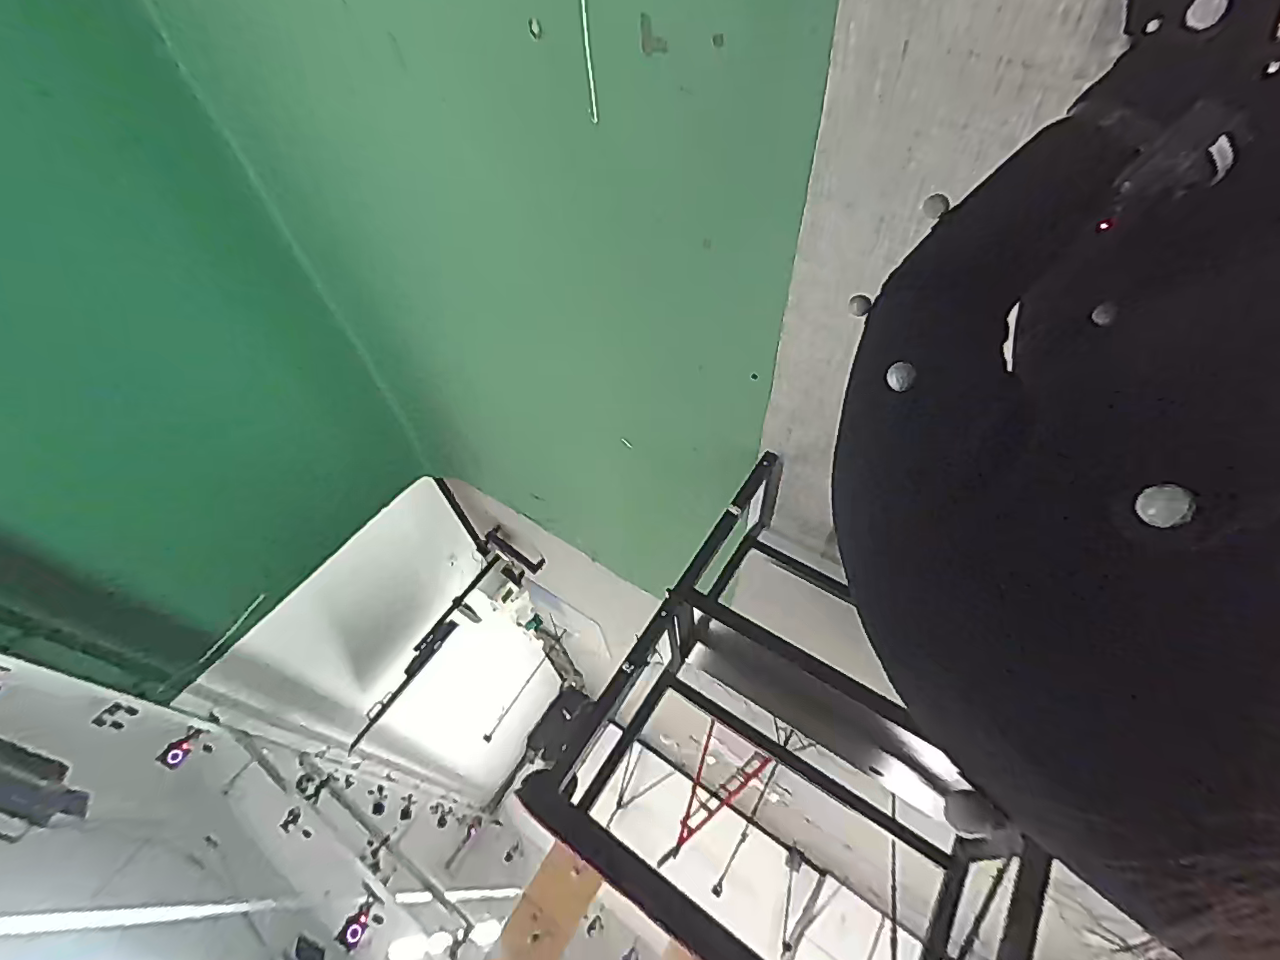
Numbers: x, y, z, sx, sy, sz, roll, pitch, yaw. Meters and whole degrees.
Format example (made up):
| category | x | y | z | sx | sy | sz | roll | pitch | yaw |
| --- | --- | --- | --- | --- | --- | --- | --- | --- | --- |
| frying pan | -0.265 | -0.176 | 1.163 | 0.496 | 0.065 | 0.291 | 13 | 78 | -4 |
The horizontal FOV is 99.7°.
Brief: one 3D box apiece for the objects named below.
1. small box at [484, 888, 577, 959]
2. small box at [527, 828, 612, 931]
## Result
| category | x | y | z | sx | sy | sz | roll | pitch | yaw |
| --- | --- | --- | --- | --- | --- | --- | --- | --- | --- |
| small box | -0.282 | 1.224 | 1.444 | 0.168 | 0.176 | 0.179 | 28 | 151 | 18 |
| small box | -0.189 | 1.109 | 1.518 | 0.168 | 0.176 | 0.179 | 29 | 150 | 18 |
